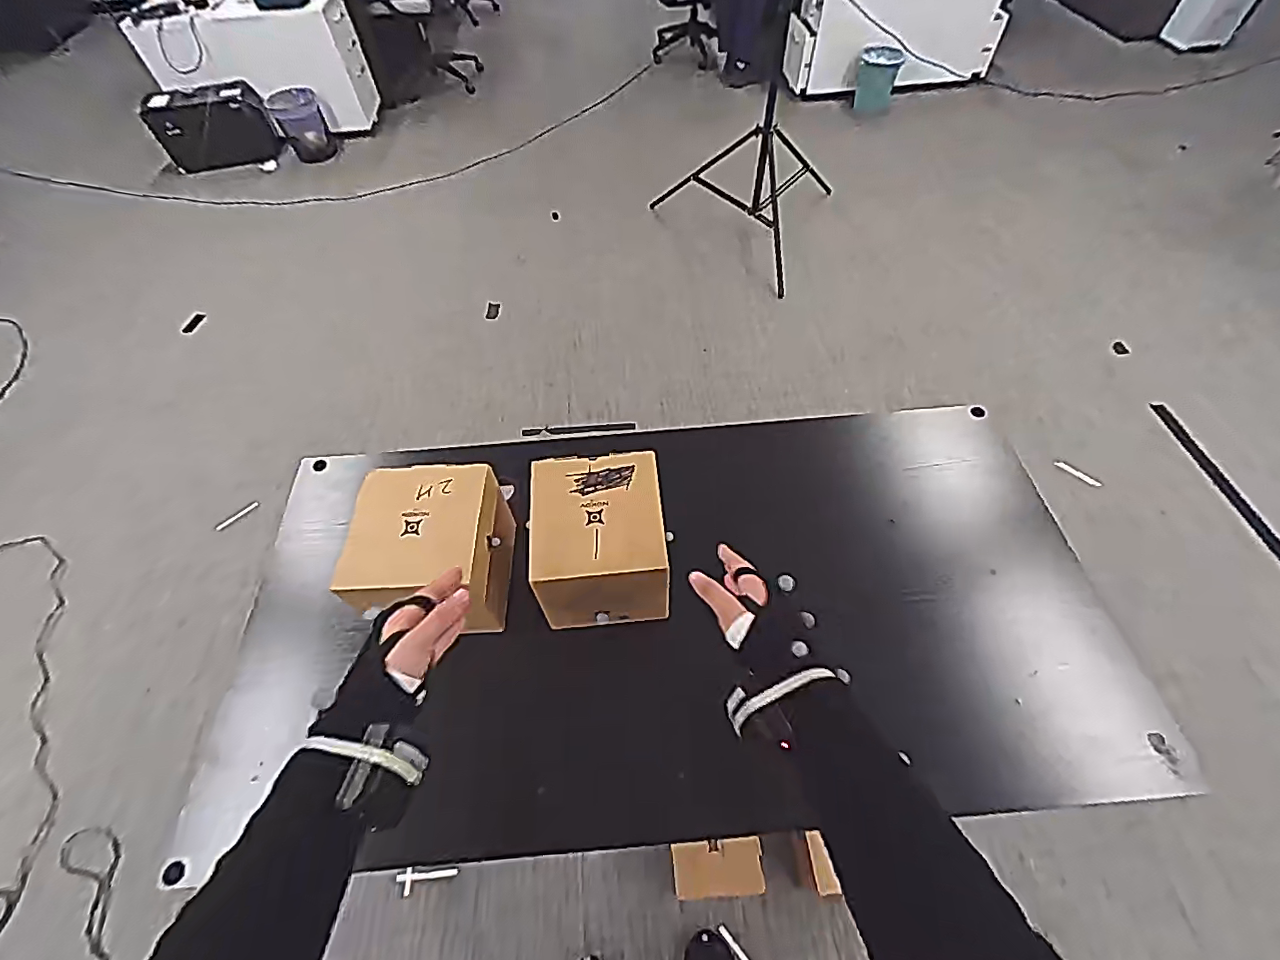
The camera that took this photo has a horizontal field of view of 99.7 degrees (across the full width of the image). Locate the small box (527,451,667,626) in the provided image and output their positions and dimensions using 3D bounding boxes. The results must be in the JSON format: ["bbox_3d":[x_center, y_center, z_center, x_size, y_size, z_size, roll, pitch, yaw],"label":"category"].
[{"bbox_3d":[-0.054,0.083,0.742,0.168,0.176,0.179,-6,56,-1],"label":"small box"}]

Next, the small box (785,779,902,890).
[{"bbox_3d":[0.416,0.750,1.143,0.168,0.176,0.179,-6,55,-1],"label":"small box"}]

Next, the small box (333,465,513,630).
[{"bbox_3d":[-0.278,0.099,0.741,0.168,0.176,0.179,-2,55,0],"label":"small box"}]

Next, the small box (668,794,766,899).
[{"bbox_3d":[0.154,0.772,1.145,0.179,0.176,0.168,-6,55,0],"label":"small box"}]
